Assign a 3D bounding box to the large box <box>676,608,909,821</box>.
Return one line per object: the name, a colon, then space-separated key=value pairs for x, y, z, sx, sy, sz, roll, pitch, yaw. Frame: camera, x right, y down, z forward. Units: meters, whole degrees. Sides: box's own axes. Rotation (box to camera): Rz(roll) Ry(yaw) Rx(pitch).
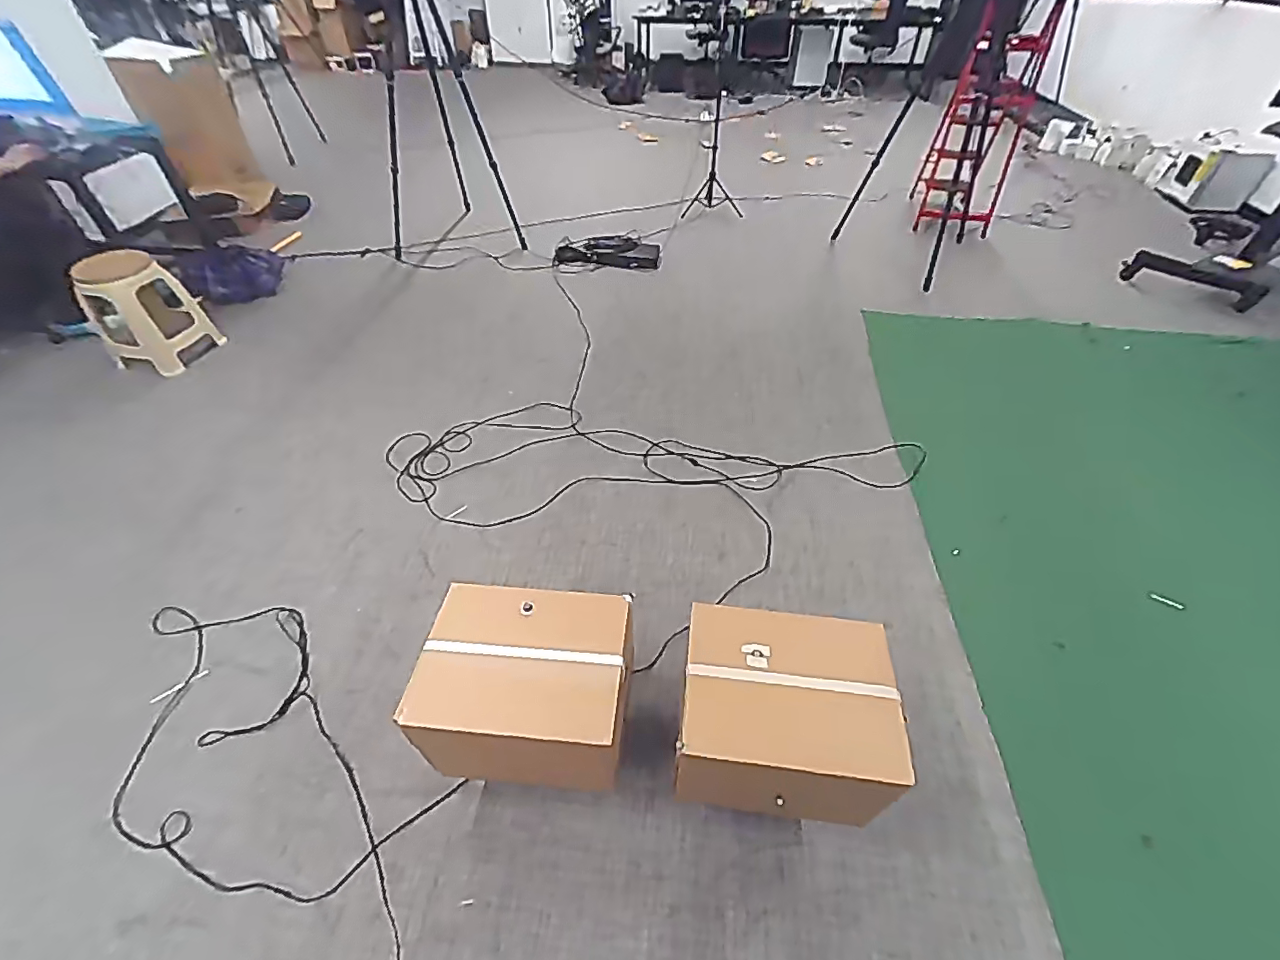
large box: x=0.295 y=0.507 z=1.167 sx=0.408 sy=0.320 sz=0.320 roll=5 pitch=46 yaw=6
